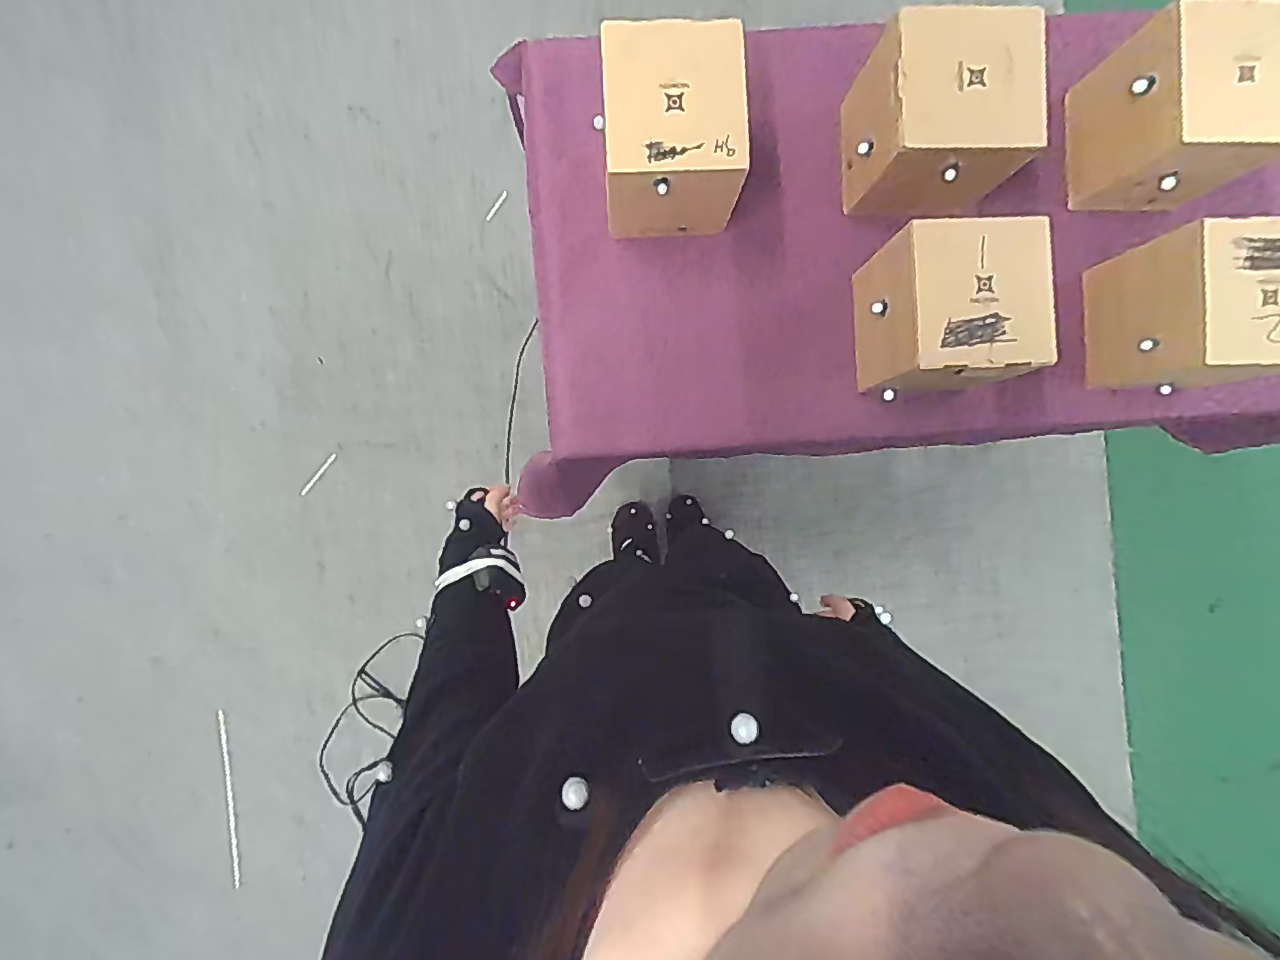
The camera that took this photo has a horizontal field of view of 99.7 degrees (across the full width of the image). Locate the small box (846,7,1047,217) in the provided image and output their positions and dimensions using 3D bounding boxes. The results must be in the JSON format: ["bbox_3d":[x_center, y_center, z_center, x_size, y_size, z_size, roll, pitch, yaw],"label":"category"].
[{"bbox_3d":[0.383,-0.464,0.706,0.179,0.176,0.168,-1,90,-2],"label":"small box"}]

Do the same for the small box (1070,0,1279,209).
[{"bbox_3d":[0.710,-0.479,0.711,0.168,0.176,0.179,-1,89,-1],"label":"small box"}]

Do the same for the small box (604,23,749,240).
[{"bbox_3d":[0.038,-0.435,0.698,0.168,0.176,0.179,-3,89,-1],"label":"small box"}]

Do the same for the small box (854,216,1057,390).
[{"bbox_3d":[0.393,-0.214,0.701,0.168,0.176,0.179,-2,88,-1],"label":"small box"}]
